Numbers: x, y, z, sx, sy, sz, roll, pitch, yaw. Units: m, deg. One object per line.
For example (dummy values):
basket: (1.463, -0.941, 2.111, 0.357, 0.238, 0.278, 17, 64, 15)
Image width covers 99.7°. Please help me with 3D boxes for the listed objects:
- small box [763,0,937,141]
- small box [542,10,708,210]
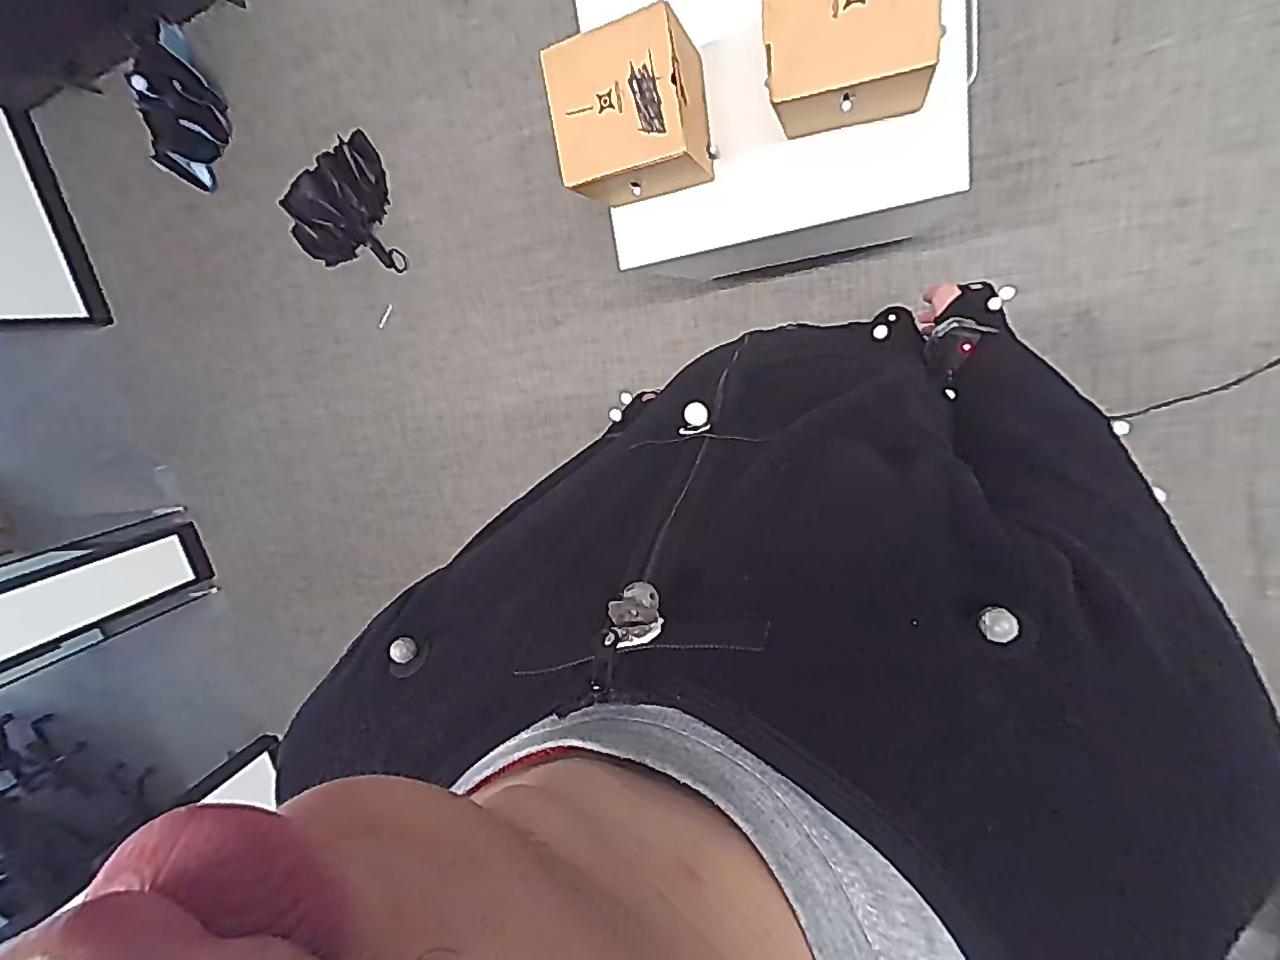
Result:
small box: (0.250, -0.530, 0.647, 0.179, 0.176, 0.168, 0, 108, 21)
small box: (-0.008, -0.496, 0.758, 0.179, 0.176, 0.168, -3, 105, 23)
